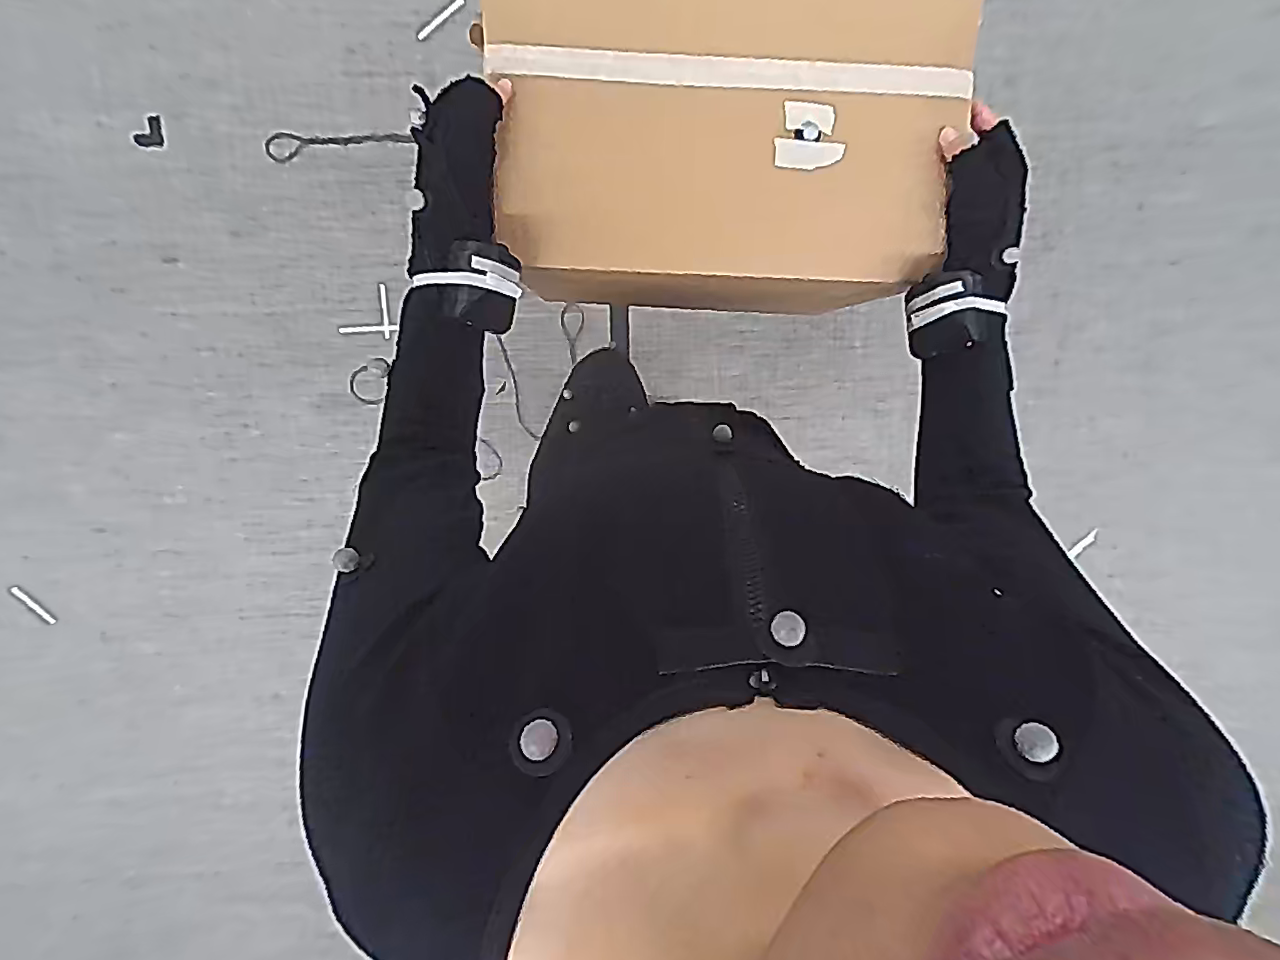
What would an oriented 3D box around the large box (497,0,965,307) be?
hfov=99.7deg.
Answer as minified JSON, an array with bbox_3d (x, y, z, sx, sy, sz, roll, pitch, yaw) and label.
[{"bbox_3d":[0.070,-0.374,0.614,0.408,0.320,0.320,1,103,-3],"label":"large box"}]
